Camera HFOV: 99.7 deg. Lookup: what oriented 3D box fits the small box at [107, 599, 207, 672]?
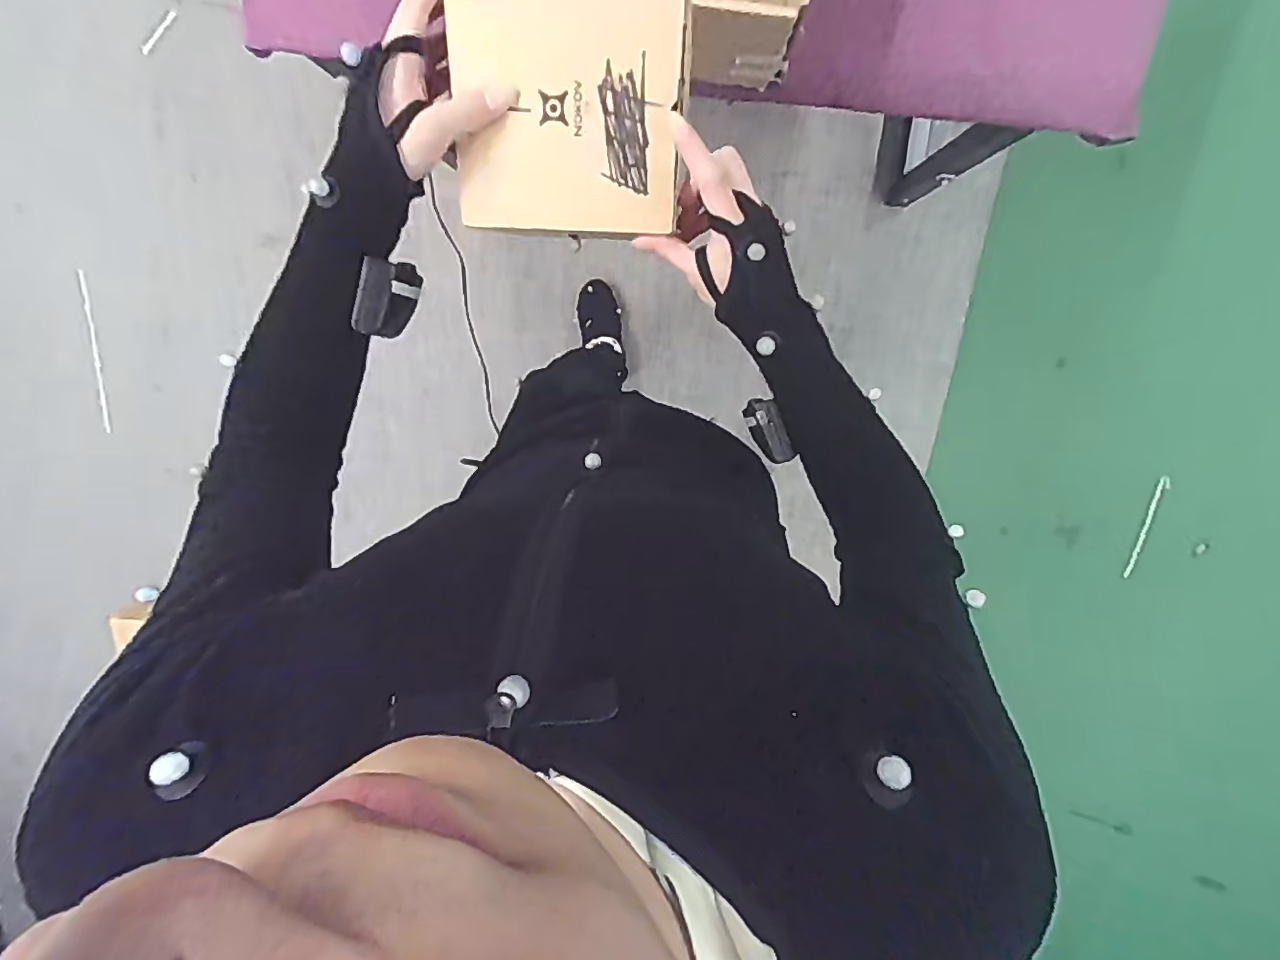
[{"bbox_3d":[-1.563,0.502,1.766,0.179,0.176,0.168,3,104,3],"label":"small box"}]
